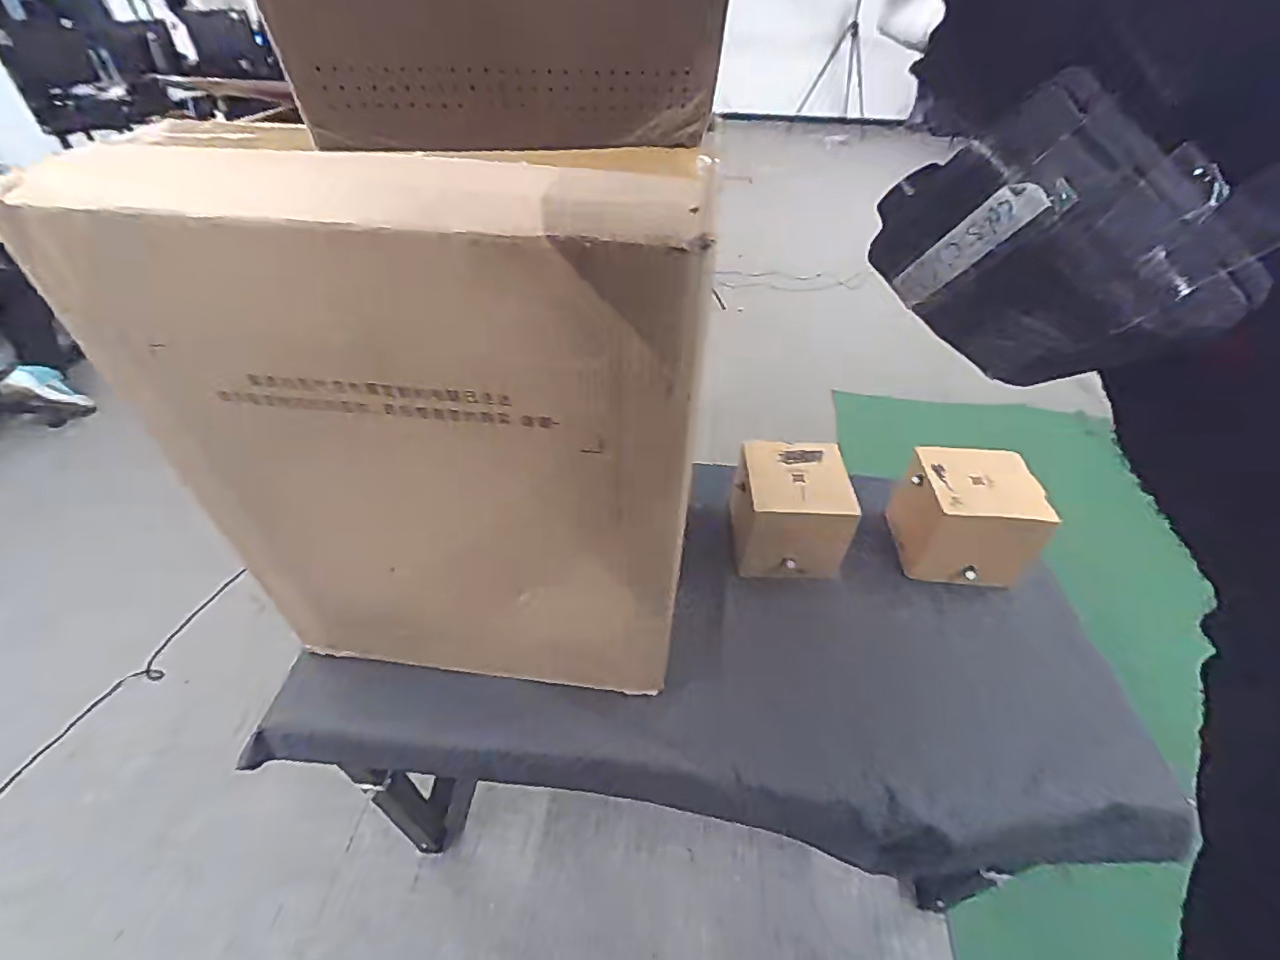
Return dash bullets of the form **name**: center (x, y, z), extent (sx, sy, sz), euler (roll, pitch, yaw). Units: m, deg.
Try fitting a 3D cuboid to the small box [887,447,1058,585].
- **small box**: center (0.561, 0.065, 0.941), extent (0.179, 0.176, 0.168), euler (5, 43, 3)
